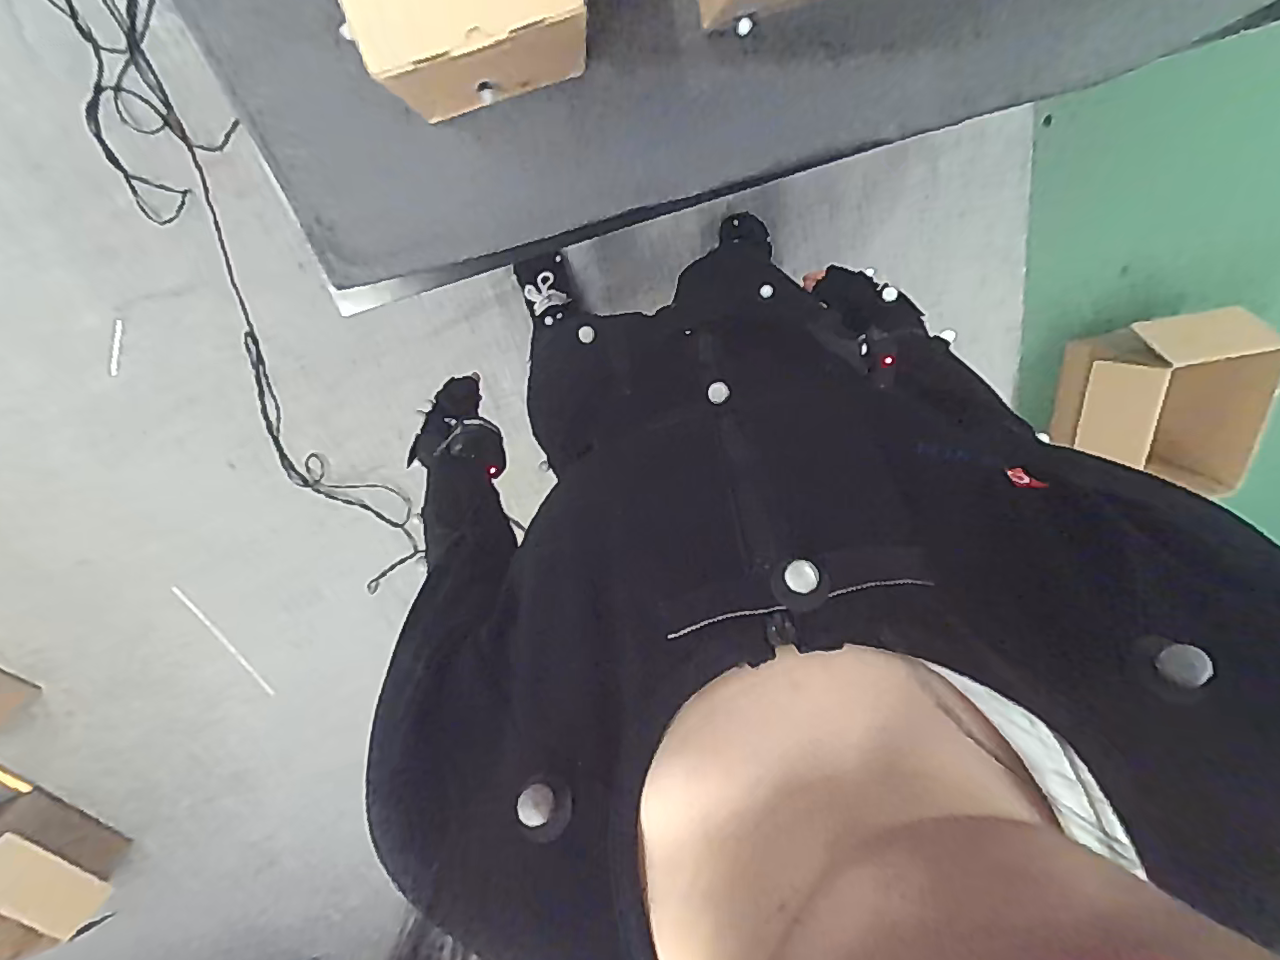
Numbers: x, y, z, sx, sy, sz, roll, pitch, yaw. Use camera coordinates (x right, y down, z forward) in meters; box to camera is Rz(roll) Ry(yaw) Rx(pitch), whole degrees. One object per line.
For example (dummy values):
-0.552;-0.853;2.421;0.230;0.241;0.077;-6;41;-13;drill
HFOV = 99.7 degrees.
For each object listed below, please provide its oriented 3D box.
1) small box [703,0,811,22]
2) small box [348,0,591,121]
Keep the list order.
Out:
0.130;-0.503;0.427;0.168;0.176;0.179;-16;116;1;small box
-0.146;-0.423;0.432;0.168;0.176;0.179;-18;115;1;small box
